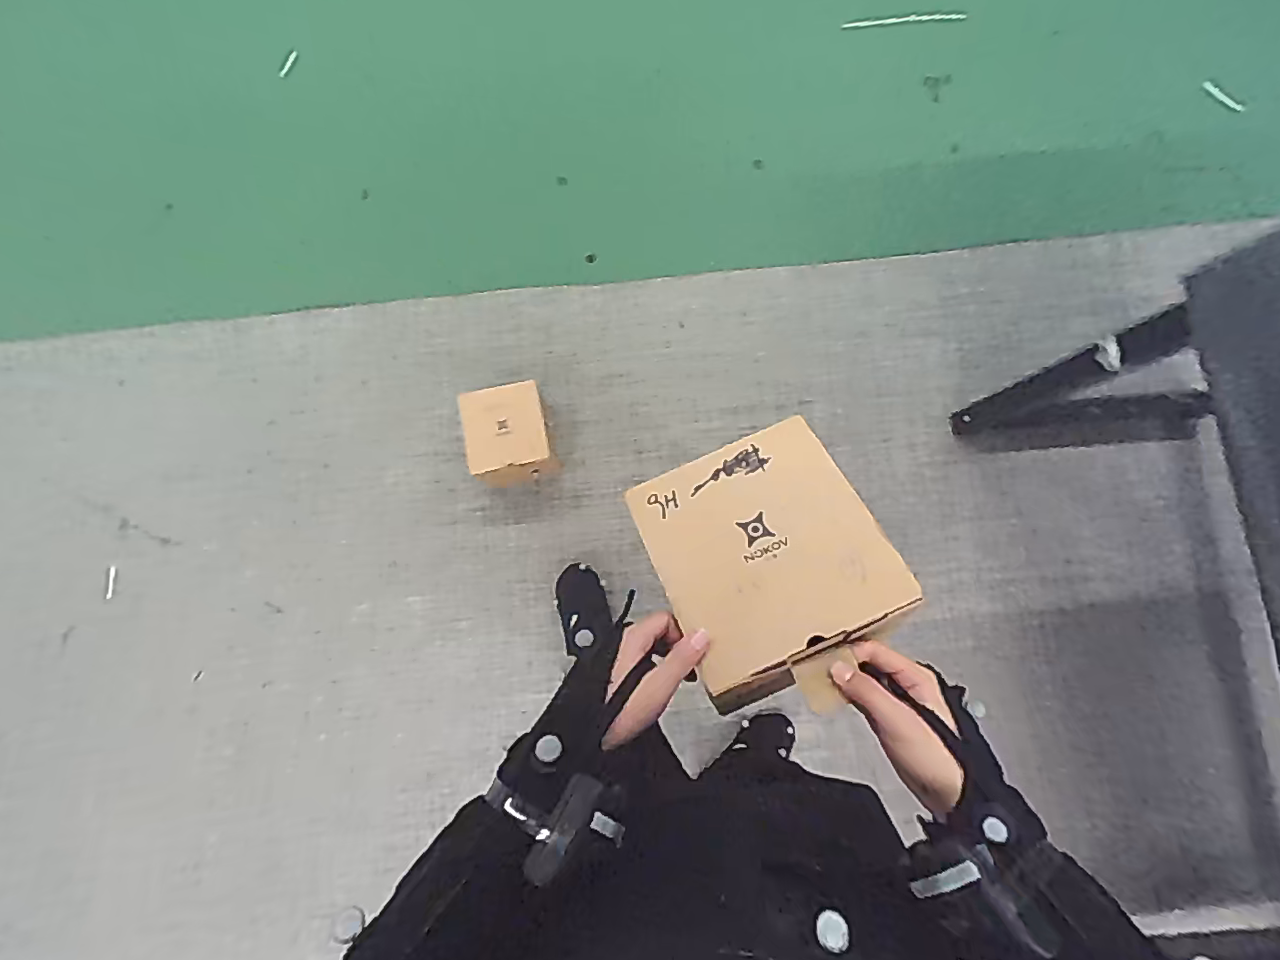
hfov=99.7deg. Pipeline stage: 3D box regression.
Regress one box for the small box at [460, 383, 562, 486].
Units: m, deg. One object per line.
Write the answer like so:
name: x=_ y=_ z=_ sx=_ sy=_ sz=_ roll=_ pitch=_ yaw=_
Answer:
small box: x=-0.274 y=-0.090 z=1.183 sx=0.168 sy=0.176 sz=0.179 roll=-12 pitch=80 yaw=-2

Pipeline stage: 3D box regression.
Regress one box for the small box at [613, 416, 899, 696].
small box: x=0.095 y=0.080 z=0.488 sx=0.168 sy=0.176 sz=0.179 roll=-24 pitch=60 yaw=-1
